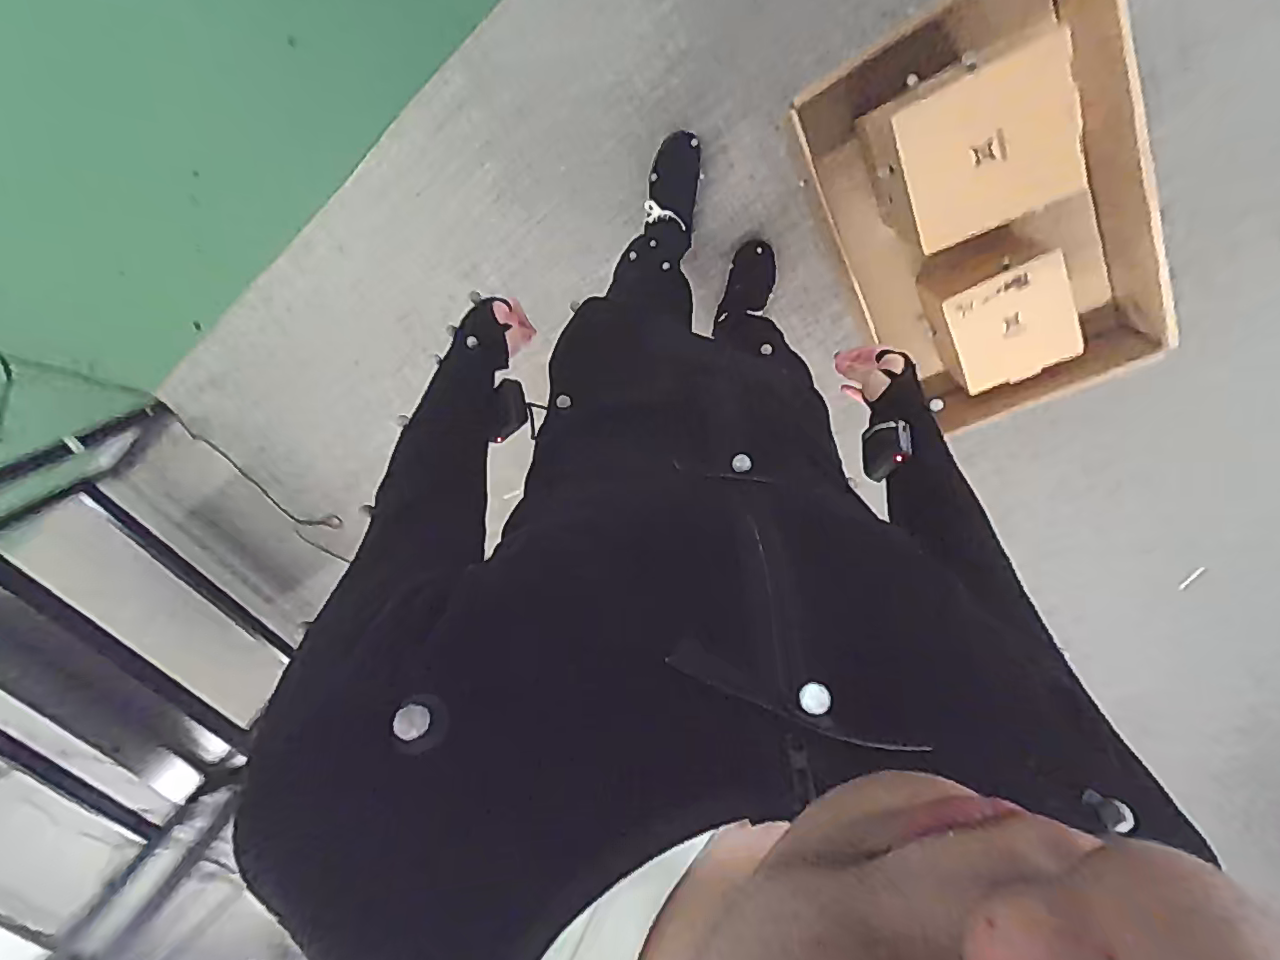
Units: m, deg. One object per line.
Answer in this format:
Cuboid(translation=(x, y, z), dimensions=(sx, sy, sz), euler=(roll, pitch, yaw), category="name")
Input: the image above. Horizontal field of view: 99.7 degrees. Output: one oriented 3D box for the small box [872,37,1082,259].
Cuboid(translation=(0.408, -0.404, 0.684), dimensions=(0.179, 0.176, 0.168), euler=(-19, 114, 20), category="small box")
